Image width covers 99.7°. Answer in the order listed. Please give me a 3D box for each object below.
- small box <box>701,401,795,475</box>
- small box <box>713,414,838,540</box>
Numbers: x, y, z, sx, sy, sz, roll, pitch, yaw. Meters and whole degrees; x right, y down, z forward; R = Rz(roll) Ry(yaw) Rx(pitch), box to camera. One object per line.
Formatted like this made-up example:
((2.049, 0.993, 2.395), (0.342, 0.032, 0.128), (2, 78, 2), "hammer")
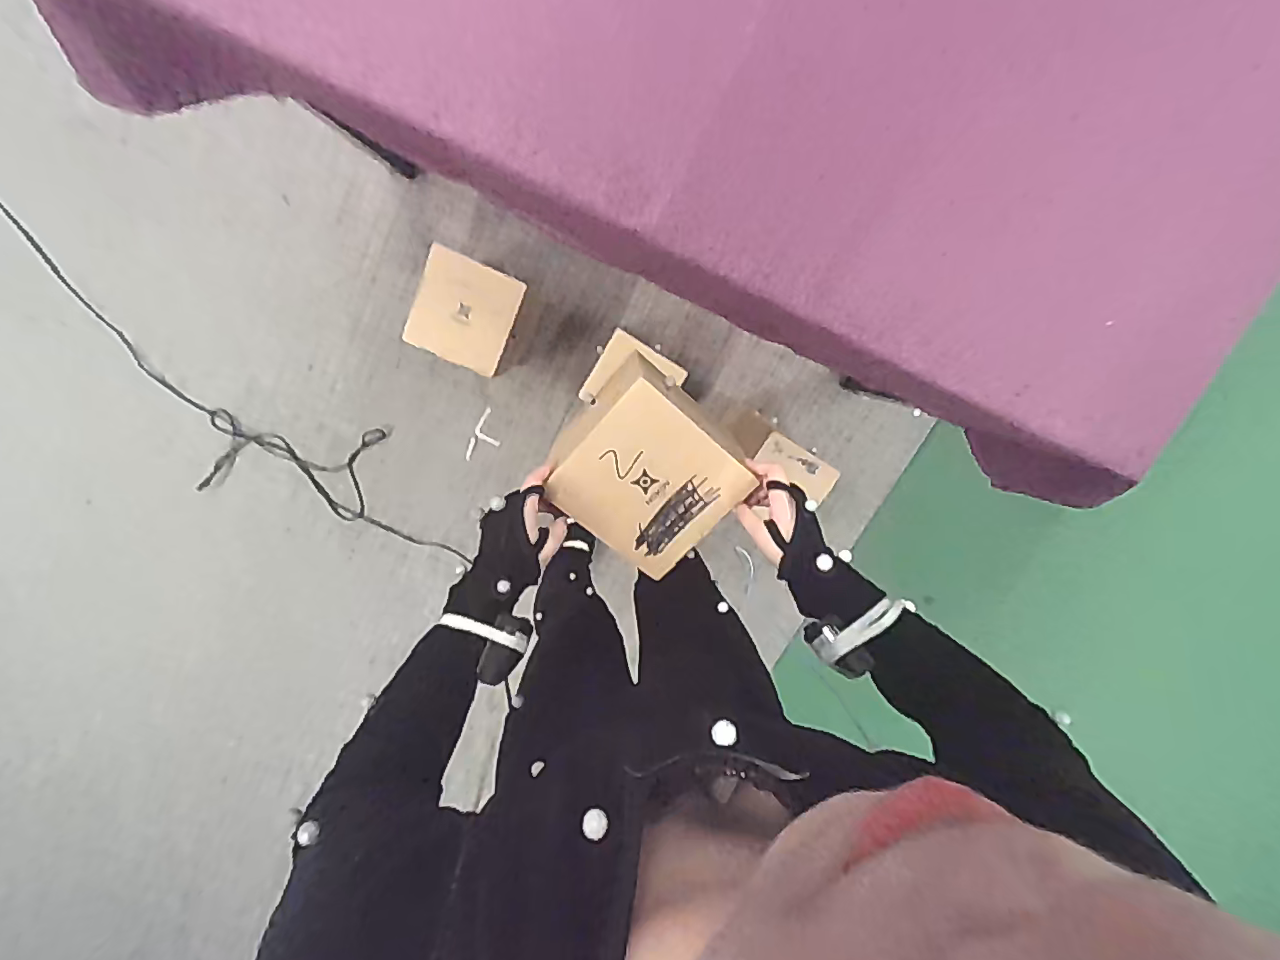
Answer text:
((0.257, -0.065, 1.265), (0.168, 0.176, 0.179), (35, 100, -11), "small box")
((0.264, -0.013, 1.109), (0.168, 0.176, 0.179), (31, 103, -10), "small box")
